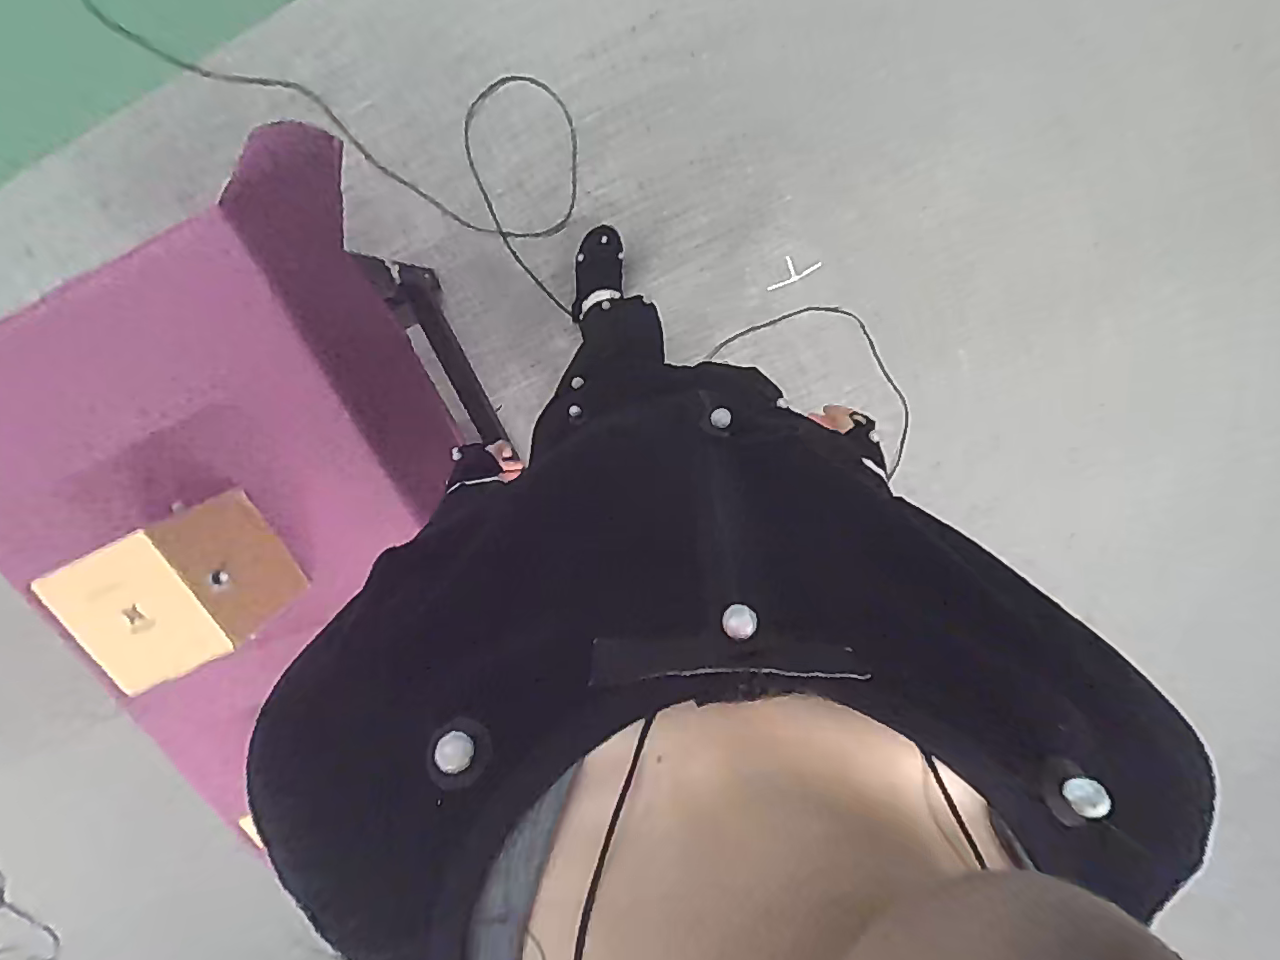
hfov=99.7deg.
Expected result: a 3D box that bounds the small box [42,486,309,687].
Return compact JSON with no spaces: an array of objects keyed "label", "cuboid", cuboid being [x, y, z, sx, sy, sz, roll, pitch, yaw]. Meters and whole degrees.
[{"label":"small box","cuboid":[-0.595,0.133,0.724,0.168,0.176,0.179,-23,106,7]}]
